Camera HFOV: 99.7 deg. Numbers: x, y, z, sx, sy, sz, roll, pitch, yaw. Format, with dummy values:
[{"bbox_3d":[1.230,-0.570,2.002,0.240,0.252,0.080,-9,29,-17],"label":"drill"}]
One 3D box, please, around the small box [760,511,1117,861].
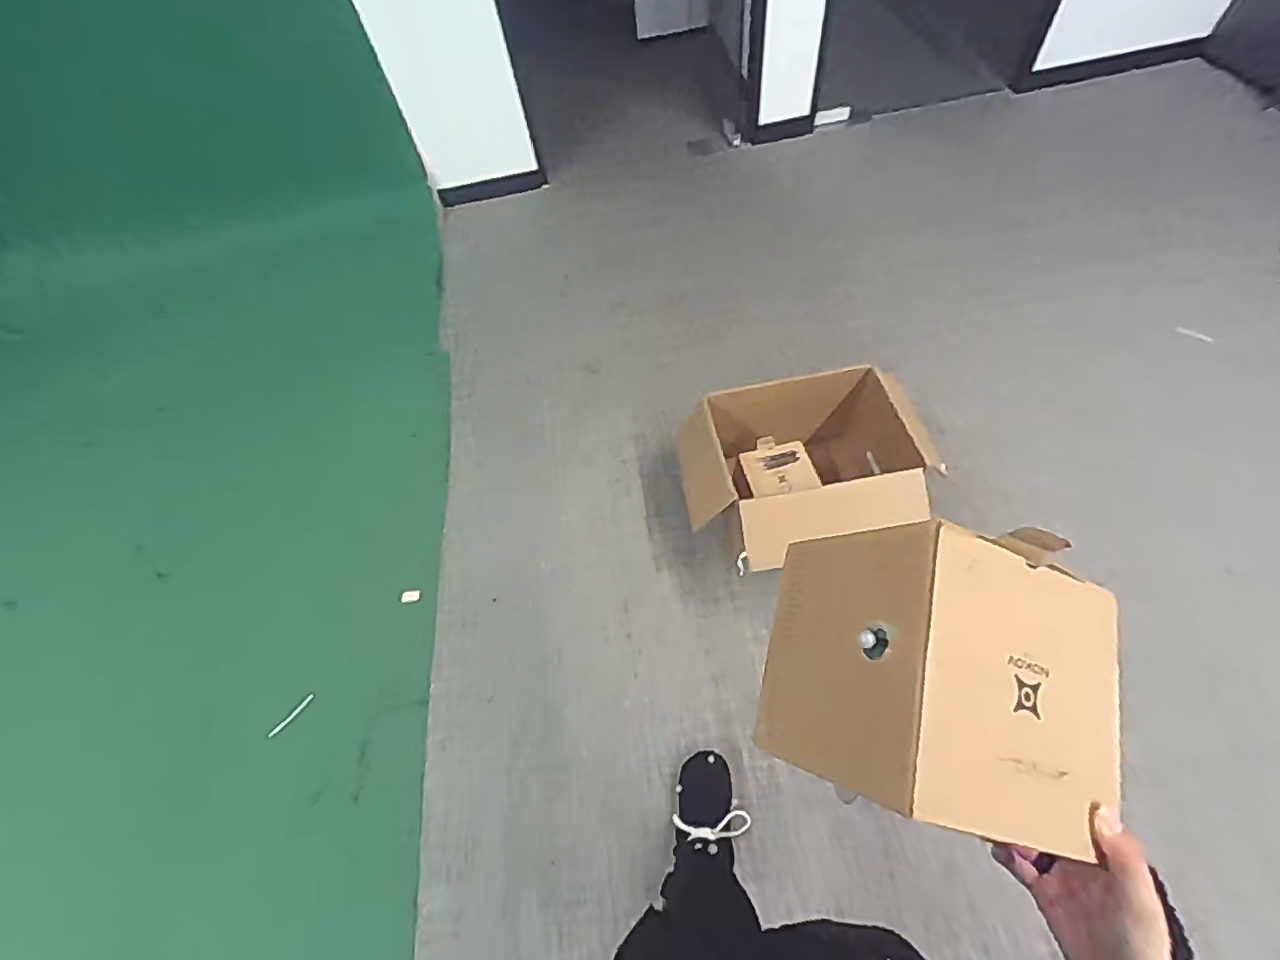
[{"bbox_3d":[0.215,0.144,0.414,0.168,0.176,0.179,23,71,-14],"label":"small box"}]
